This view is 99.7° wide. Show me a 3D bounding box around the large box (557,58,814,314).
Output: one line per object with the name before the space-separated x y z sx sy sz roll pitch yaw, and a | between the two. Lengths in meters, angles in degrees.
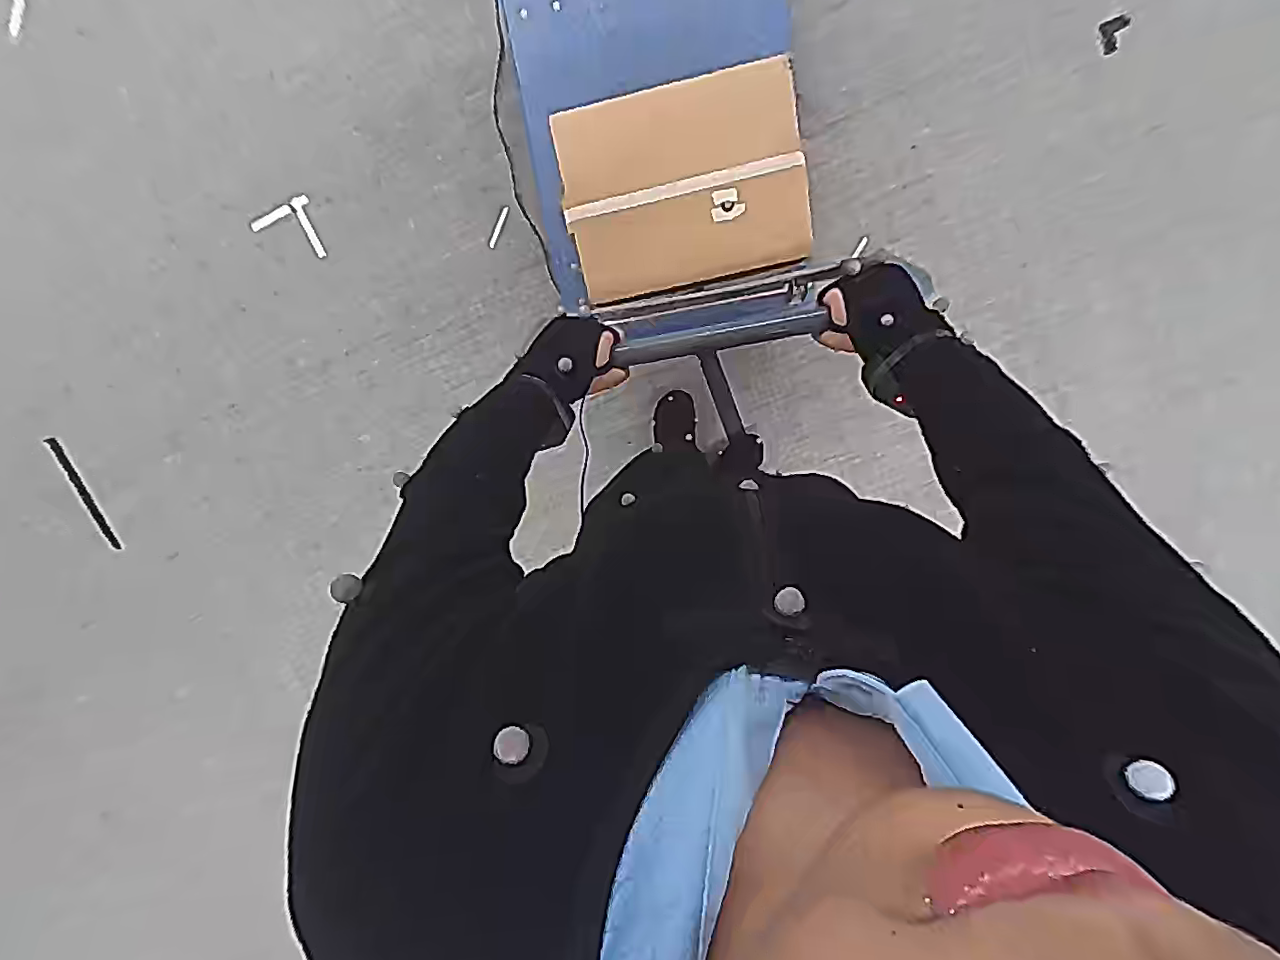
large box | 0.086 -0.540 1.079 0.408 0.320 0.320 -12 104 5
